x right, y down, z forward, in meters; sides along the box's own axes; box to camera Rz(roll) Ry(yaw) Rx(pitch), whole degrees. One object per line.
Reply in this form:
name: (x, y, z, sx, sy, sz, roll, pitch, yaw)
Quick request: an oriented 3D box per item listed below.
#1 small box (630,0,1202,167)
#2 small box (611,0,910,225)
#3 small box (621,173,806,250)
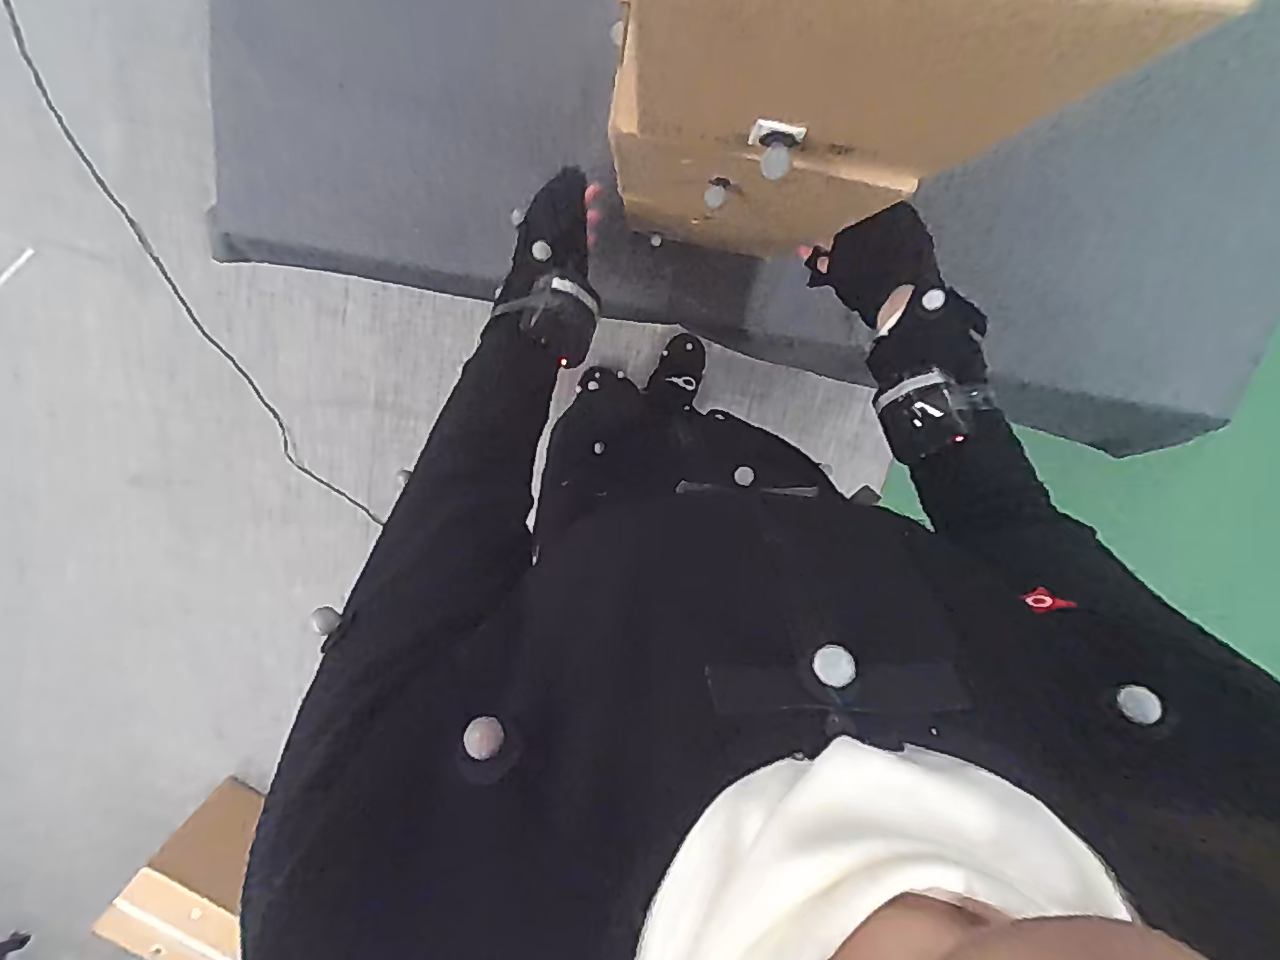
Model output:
small box: (0.084, -0.241, 0.197, 0.168, 0.176, 0.179, 5, 106, 0)
small box: (0.081, -0.282, 0.357, 0.179, 0.176, 0.168, 7, 104, -2)
small box: (0.081, -0.330, 0.511, 0.168, 0.176, 0.179, 10, 104, -2)
